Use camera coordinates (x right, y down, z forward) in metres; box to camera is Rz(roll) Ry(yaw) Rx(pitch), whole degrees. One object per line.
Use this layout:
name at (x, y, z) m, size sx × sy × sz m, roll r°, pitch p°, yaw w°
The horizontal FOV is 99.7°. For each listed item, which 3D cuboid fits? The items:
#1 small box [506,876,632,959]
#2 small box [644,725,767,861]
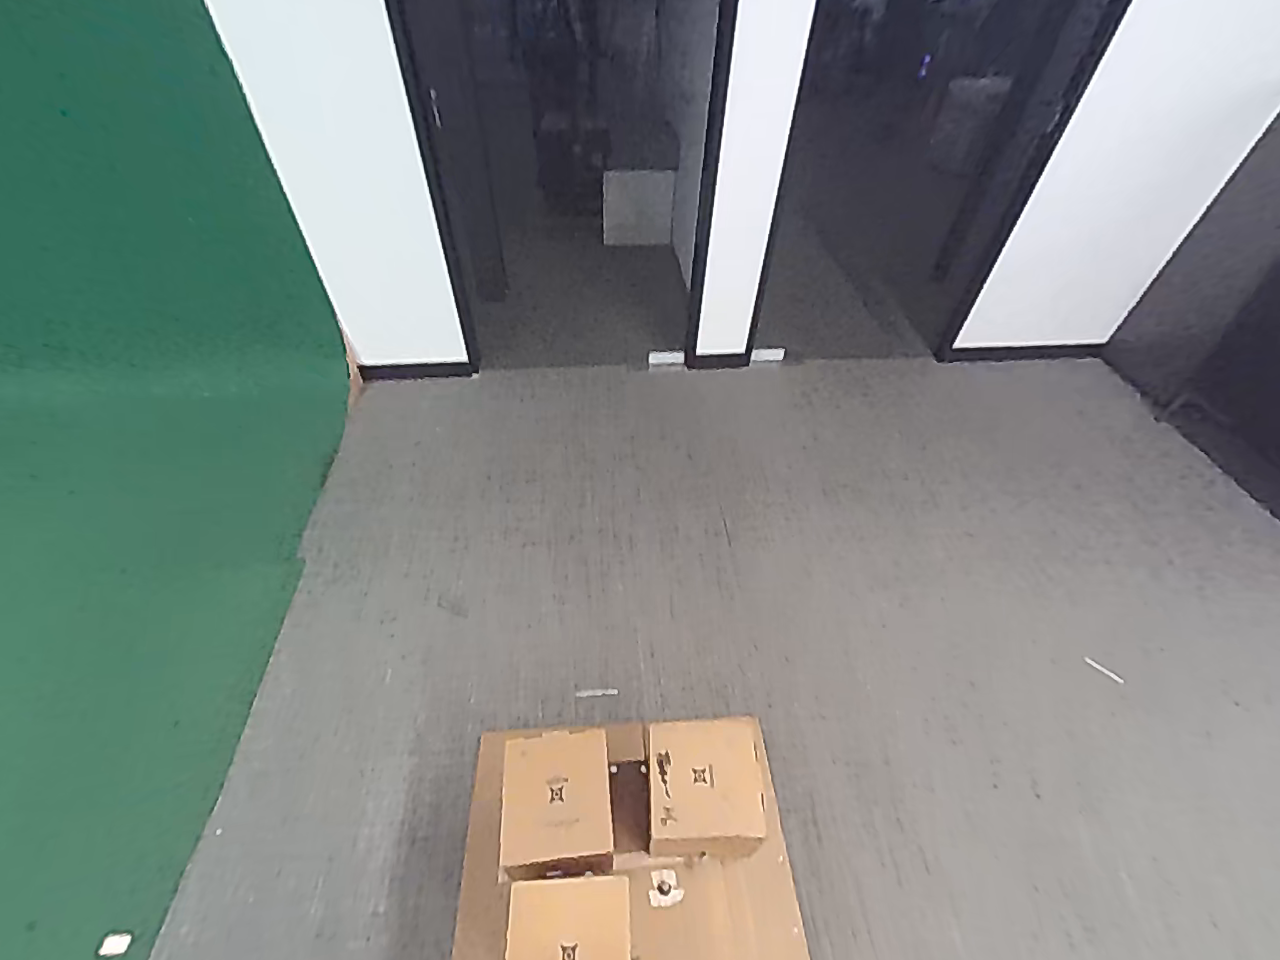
small box at (-0.097, 0.676, 0.756) m, size 0.168 × 0.176 × 0.179 m, roll -1°, pitch 48°, yaw -4°
small box at (0.098, 0.525, 0.906) m, size 0.179 × 0.176 × 0.168 m, roll 1°, pitch 47°, yaw -1°
